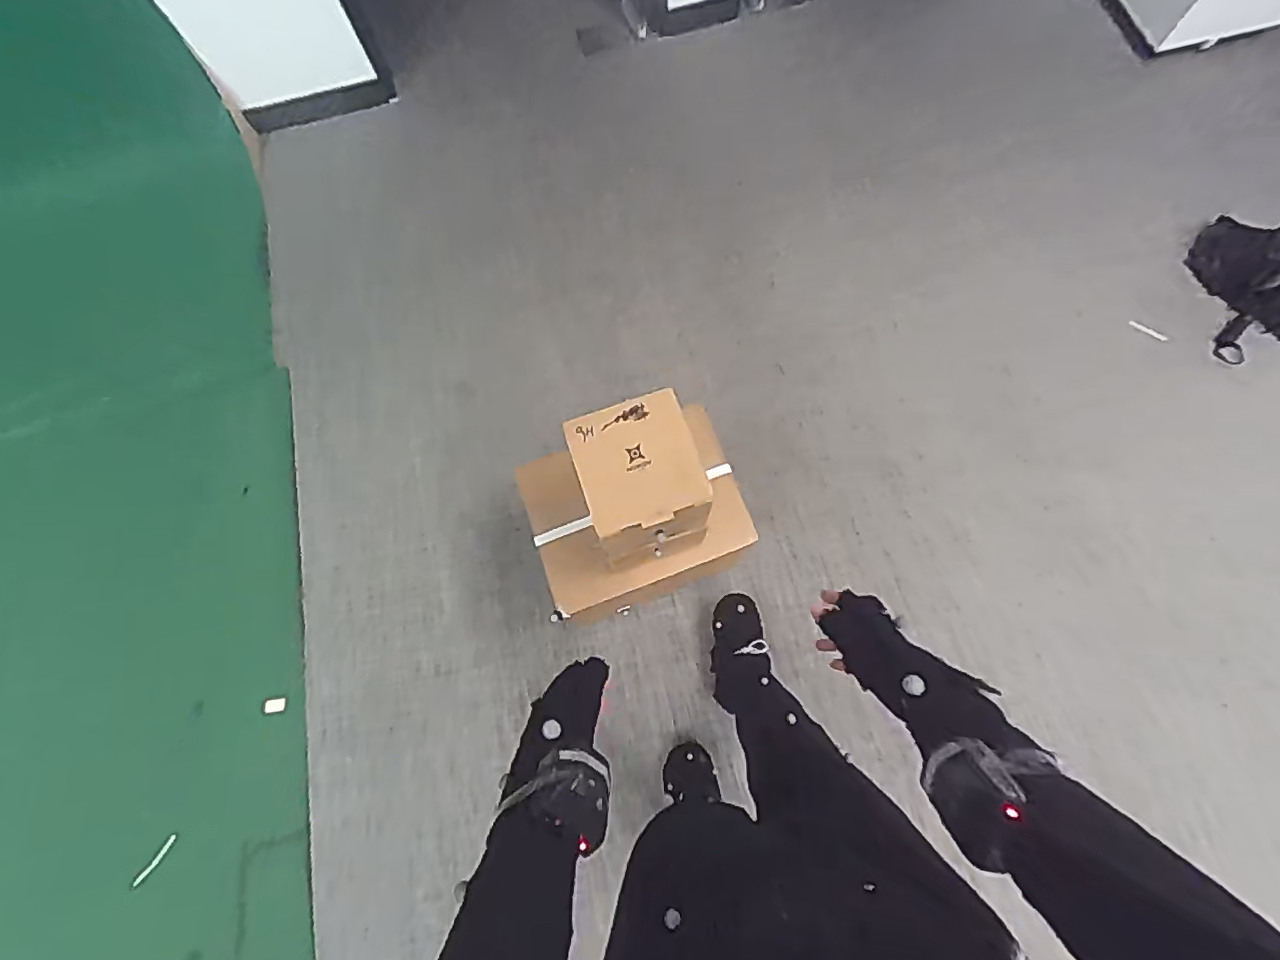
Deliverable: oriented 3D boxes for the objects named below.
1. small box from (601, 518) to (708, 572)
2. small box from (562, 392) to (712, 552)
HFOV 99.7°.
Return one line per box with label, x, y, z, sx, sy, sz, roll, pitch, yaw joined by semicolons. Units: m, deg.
small box;0.008;0.055;0.958;0.179;0.176;0.168;-18;74;-4
small box;-0.001;0.001;0.804;0.168;0.176;0.179;-18;74;-2
